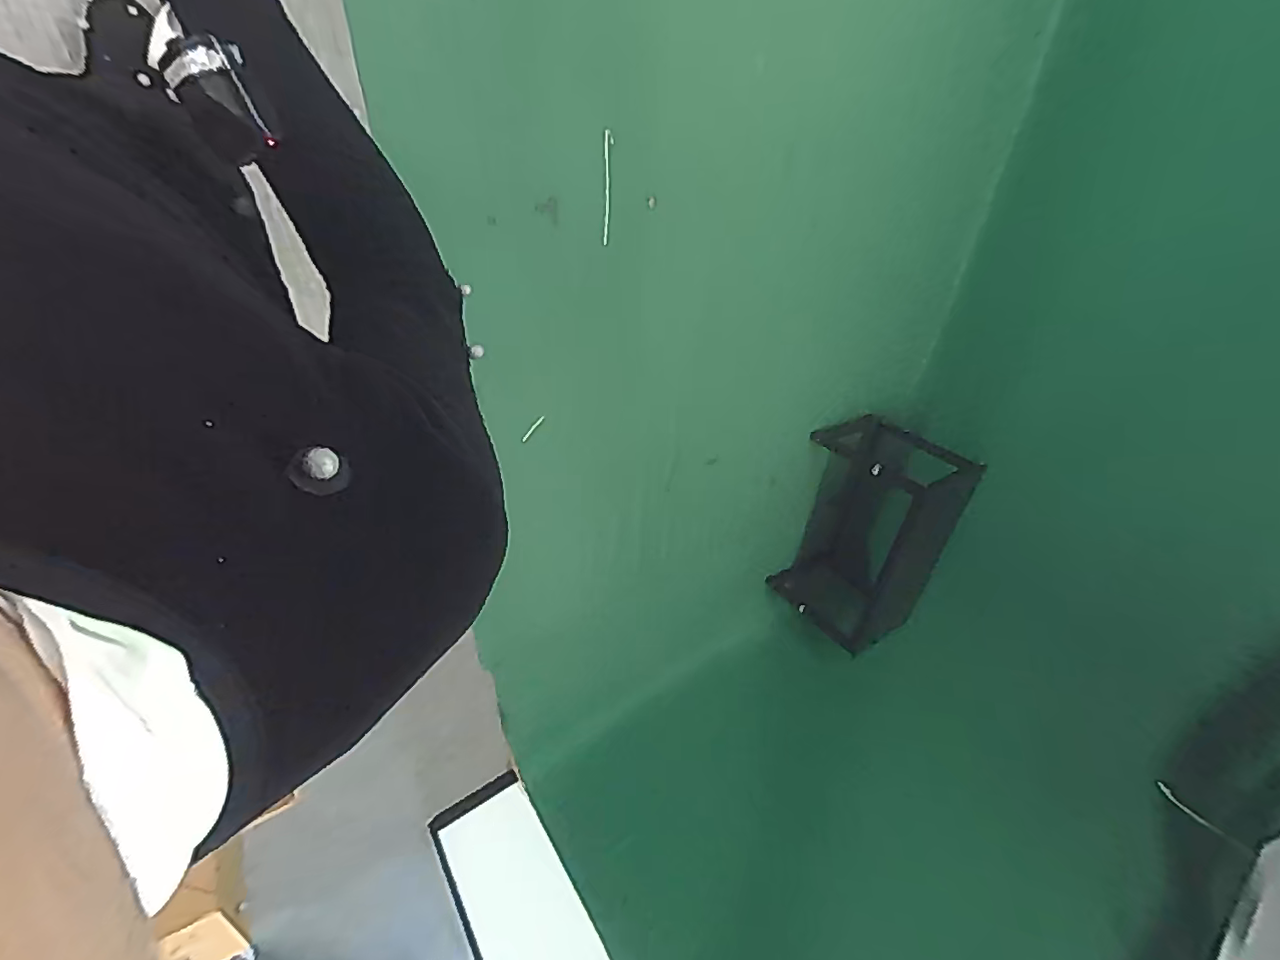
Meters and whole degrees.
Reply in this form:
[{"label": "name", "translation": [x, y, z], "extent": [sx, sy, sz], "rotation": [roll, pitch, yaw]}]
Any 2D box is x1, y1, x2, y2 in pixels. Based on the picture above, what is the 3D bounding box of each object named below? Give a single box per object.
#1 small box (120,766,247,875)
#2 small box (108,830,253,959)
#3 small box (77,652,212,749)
[{"label": "small box", "translation": [-0.973, 0.765, 1.168], "extent": [0.168, 0.176, 0.179], "rotation": [-17, 127, -30]}, {"label": "small box", "translation": [-0.878, 0.830, 1.048], "extent": [0.168, 0.176, 0.179], "rotation": [-19, 128, -30]}, {"label": "small box", "translation": [-1.040, 0.492, 1.145], "extent": [0.168, 0.176, 0.179], "rotation": [-17, 131, -31]}]
